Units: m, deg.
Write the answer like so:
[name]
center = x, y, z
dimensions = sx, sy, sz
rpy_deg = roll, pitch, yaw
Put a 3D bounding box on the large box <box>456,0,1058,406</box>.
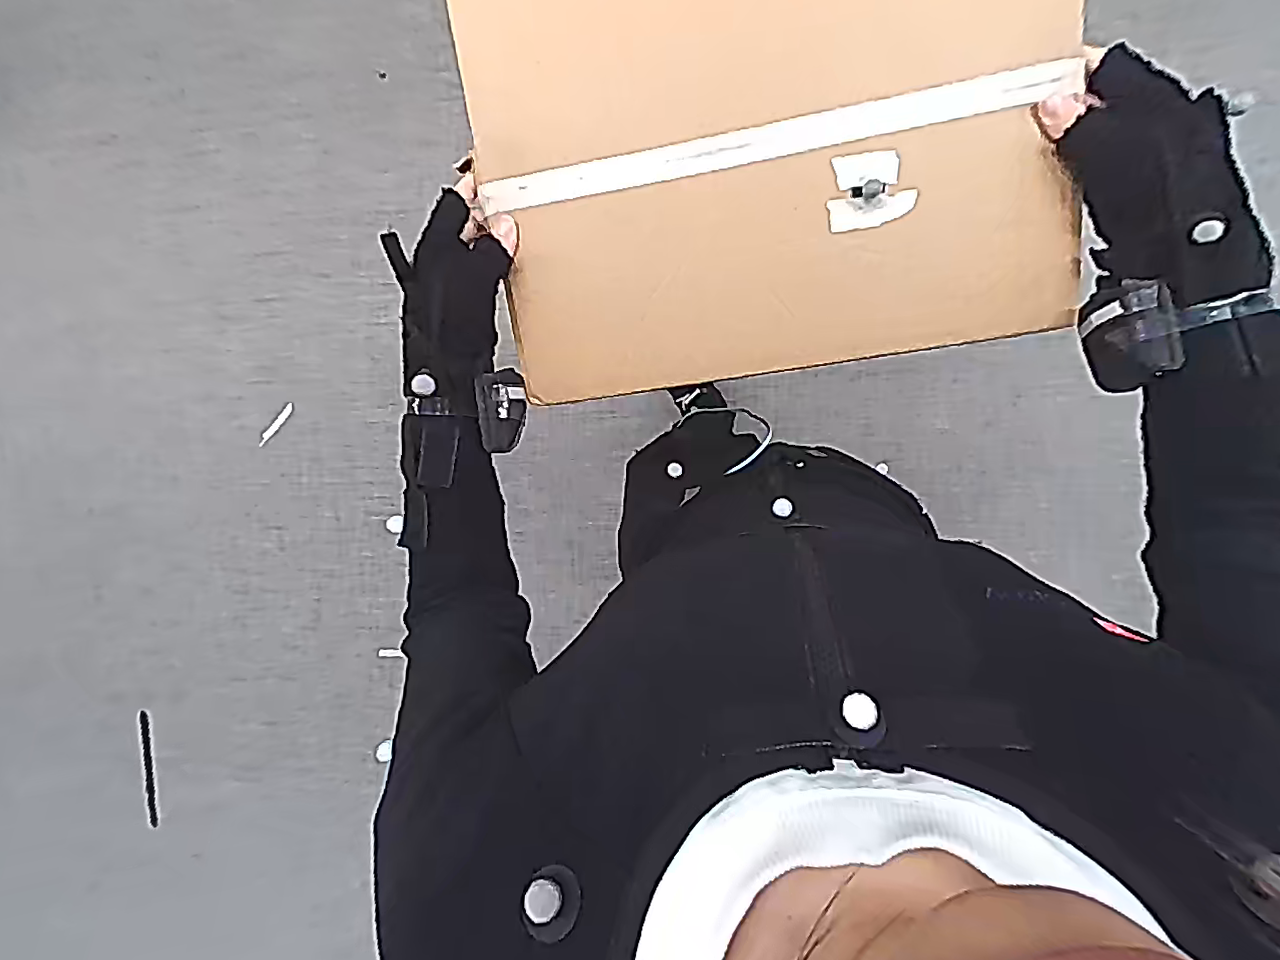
[large box]
center = 0.098, -0.271, 0.535
dimensions = 0.408, 0.320, 0.320
rpy_deg = -8, 103, 7
